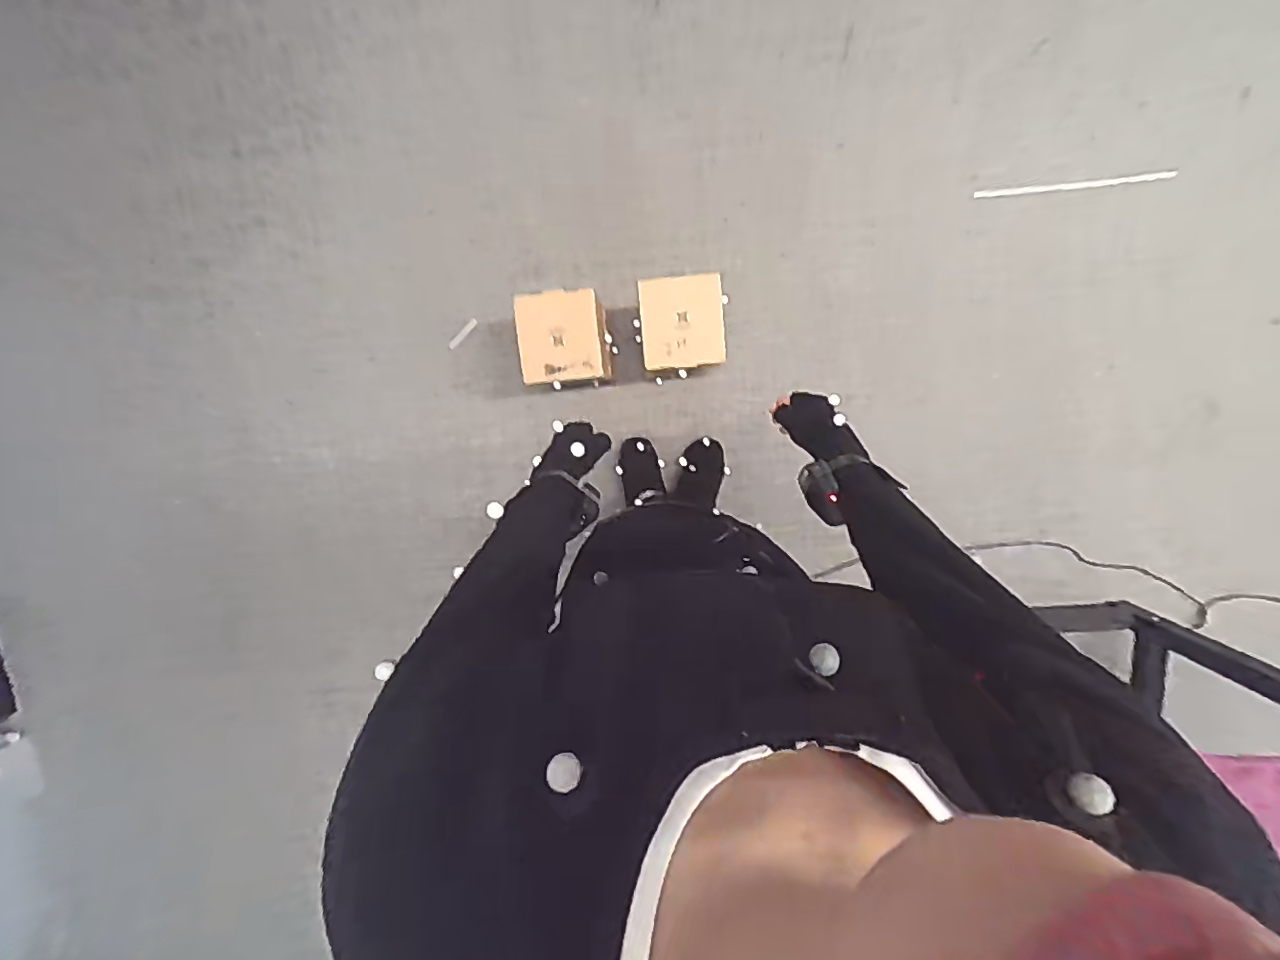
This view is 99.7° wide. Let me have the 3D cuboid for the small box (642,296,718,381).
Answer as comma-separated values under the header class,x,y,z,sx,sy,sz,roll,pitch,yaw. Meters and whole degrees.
class,x,y,z,sx,sy,sz,roll,pitch,yaw
small box,0.096,-0.337,1.321,0.168,0.176,0.179,-5,97,2
